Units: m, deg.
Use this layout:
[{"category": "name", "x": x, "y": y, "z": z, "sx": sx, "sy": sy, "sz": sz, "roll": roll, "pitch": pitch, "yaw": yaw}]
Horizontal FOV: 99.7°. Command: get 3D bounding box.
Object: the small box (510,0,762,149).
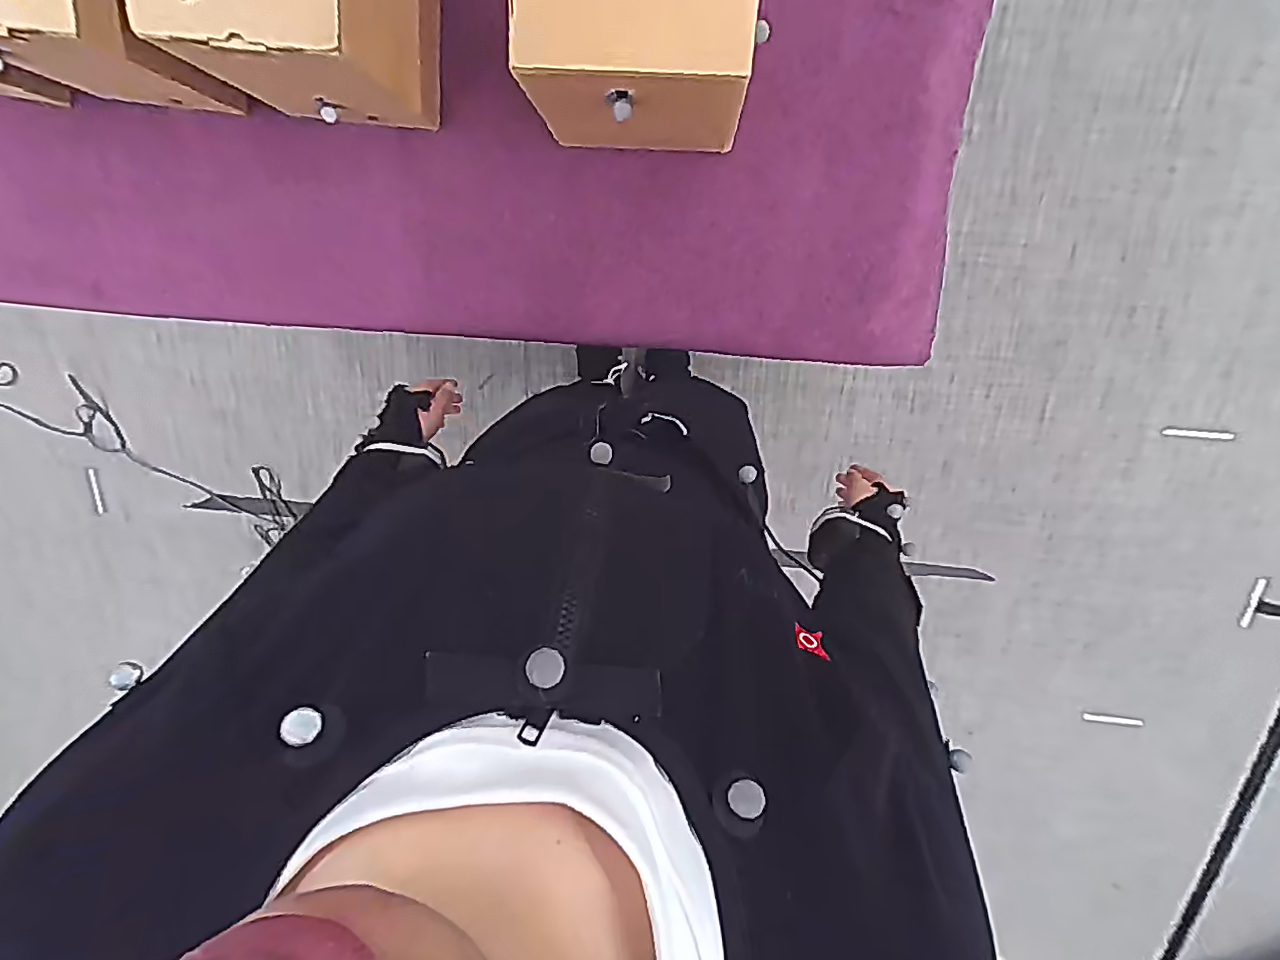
[{"category": "small box", "x": 0.005, "y": -0.388, "z": 0.439, "sx": 0.179, "sy": 0.176, "sz": 0.168, "roll": 5, "pitch": 106, "yaw": 4}]
